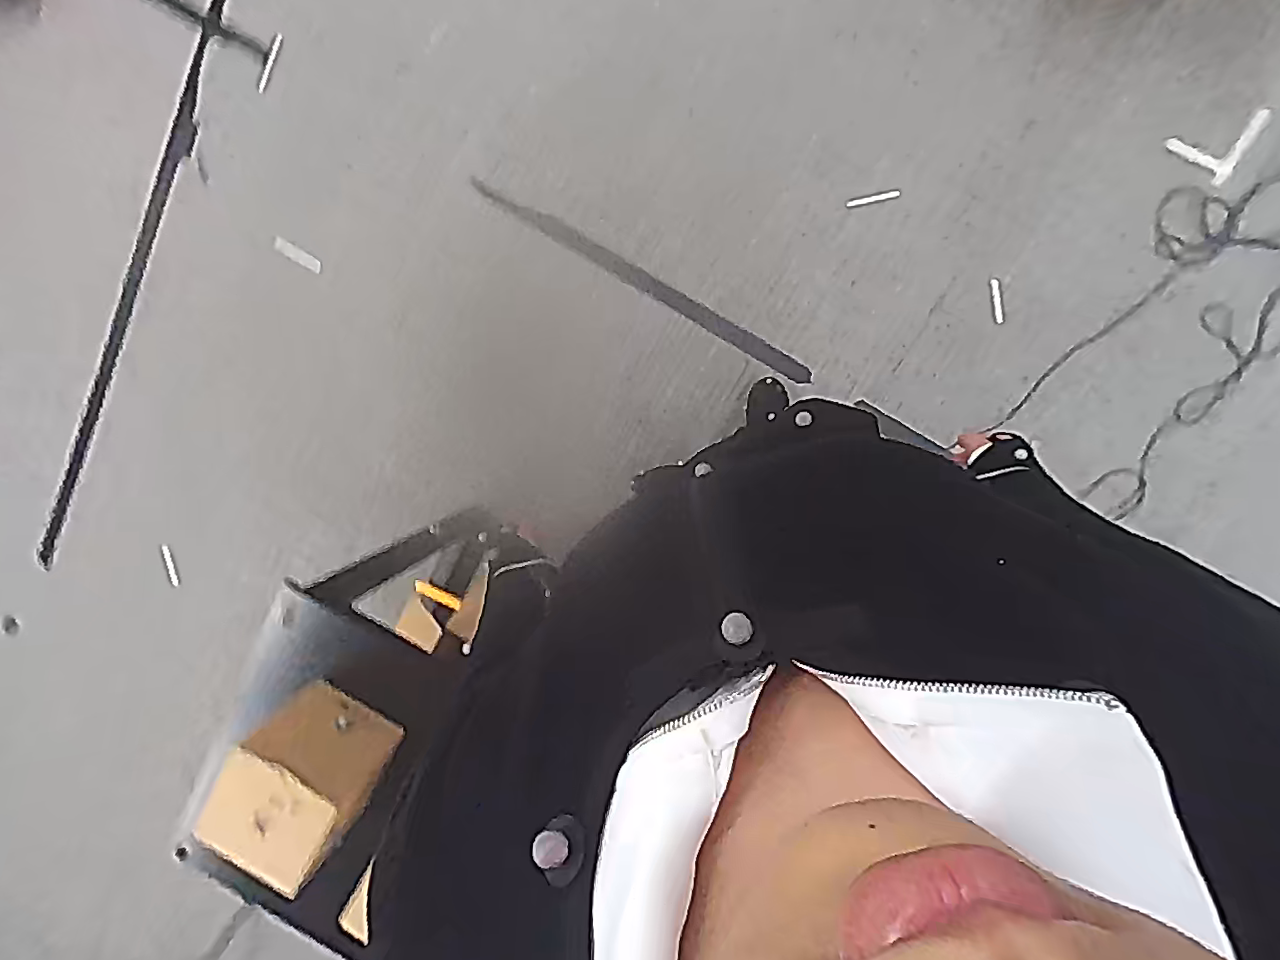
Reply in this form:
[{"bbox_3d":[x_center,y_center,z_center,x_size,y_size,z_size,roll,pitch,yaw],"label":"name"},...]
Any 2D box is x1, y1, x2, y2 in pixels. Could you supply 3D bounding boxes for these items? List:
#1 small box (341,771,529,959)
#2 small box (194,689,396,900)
[{"bbox_3d":[-0.294,0.585,0.813,0.179,0.176,0.168,31,101,2],"label":"small box"},{"bbox_3d":[-0.506,0.461,0.817,0.168,0.176,0.179,31,102,0],"label":"small box"}]
